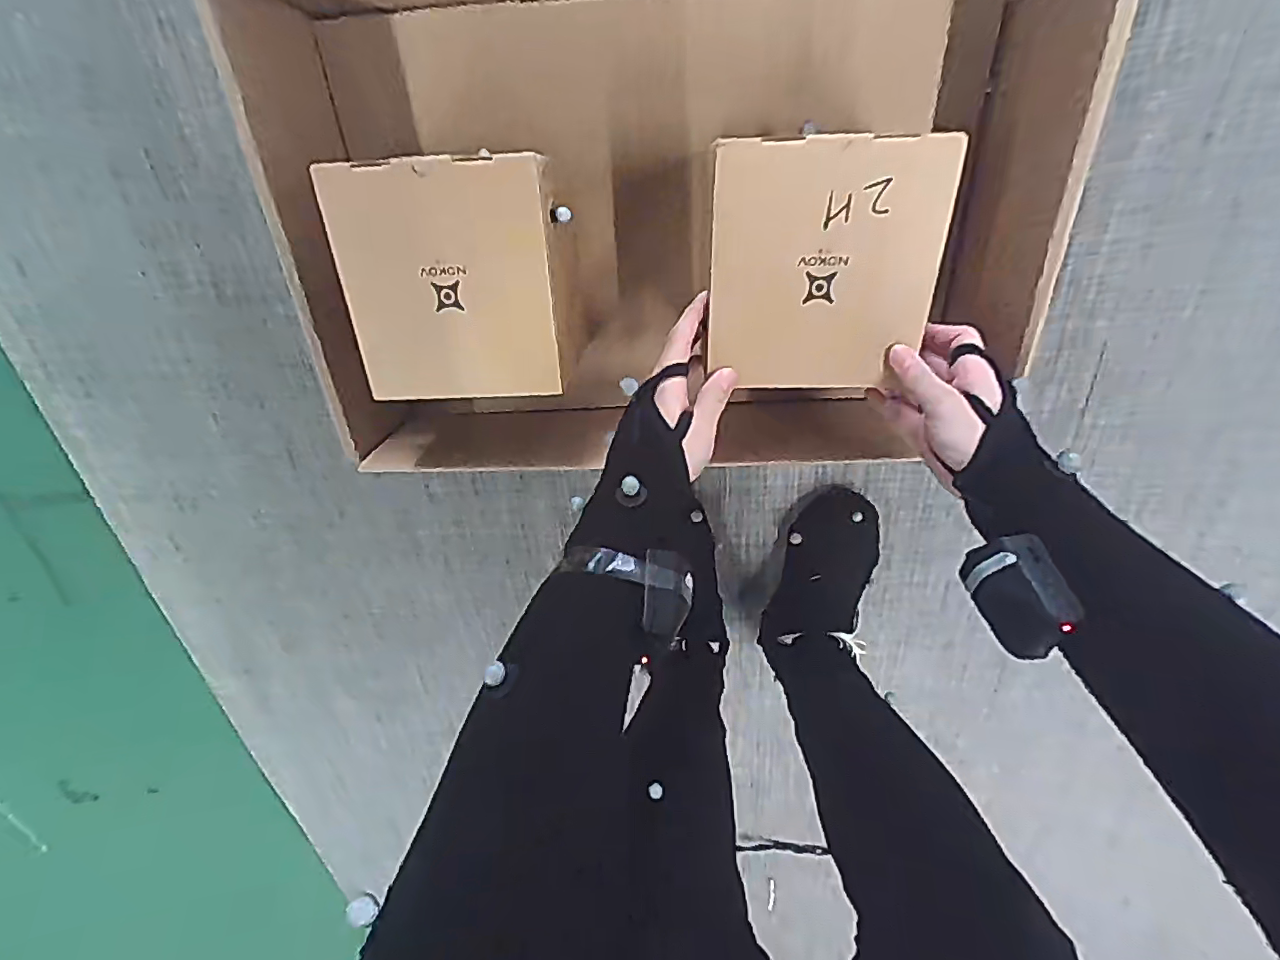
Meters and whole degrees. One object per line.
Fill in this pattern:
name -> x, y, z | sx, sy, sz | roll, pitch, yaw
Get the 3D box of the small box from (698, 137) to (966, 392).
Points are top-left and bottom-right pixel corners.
small box -> 0.137, -0.187, 0.466 | 0.168, 0.176, 0.179 | 1, 118, 3
